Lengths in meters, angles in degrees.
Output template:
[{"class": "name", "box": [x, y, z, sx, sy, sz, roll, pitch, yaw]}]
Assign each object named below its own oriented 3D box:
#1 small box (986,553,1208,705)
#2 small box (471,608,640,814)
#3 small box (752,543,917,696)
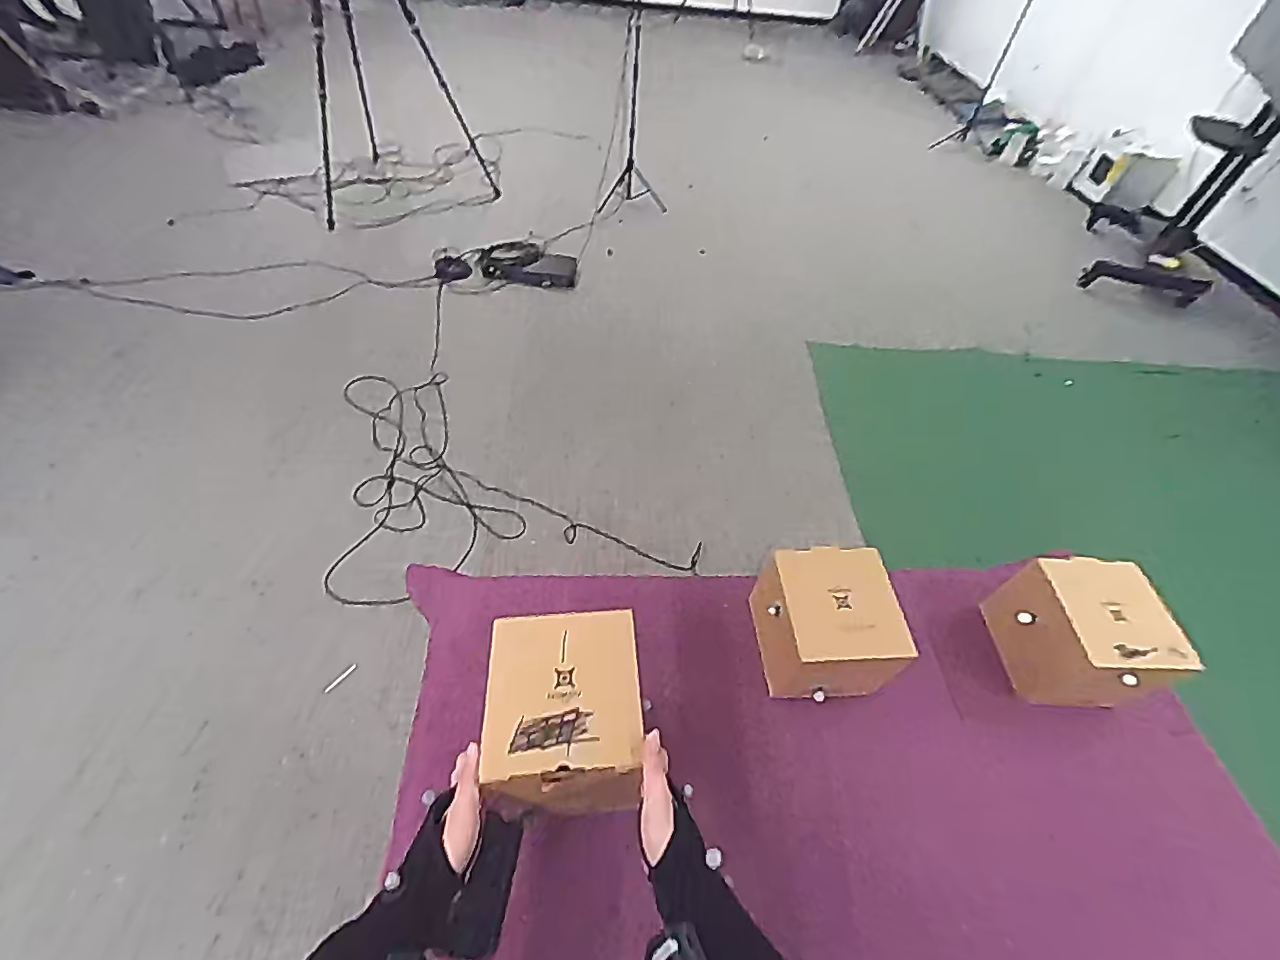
[{"class": "small box", "box": [0.690, 0.235, 0.849, 0.168, 0.176, 0.179, 2, 50, -3]}, {"class": "small box", "box": [-0.087, 0.272, 0.631, 0.168, 0.176, 0.179, -3, 46, -4]}, {"class": "small box", "box": [0.280, 0.214, 0.828, 0.168, 0.176, 0.179, 0, 51, -5]}]
